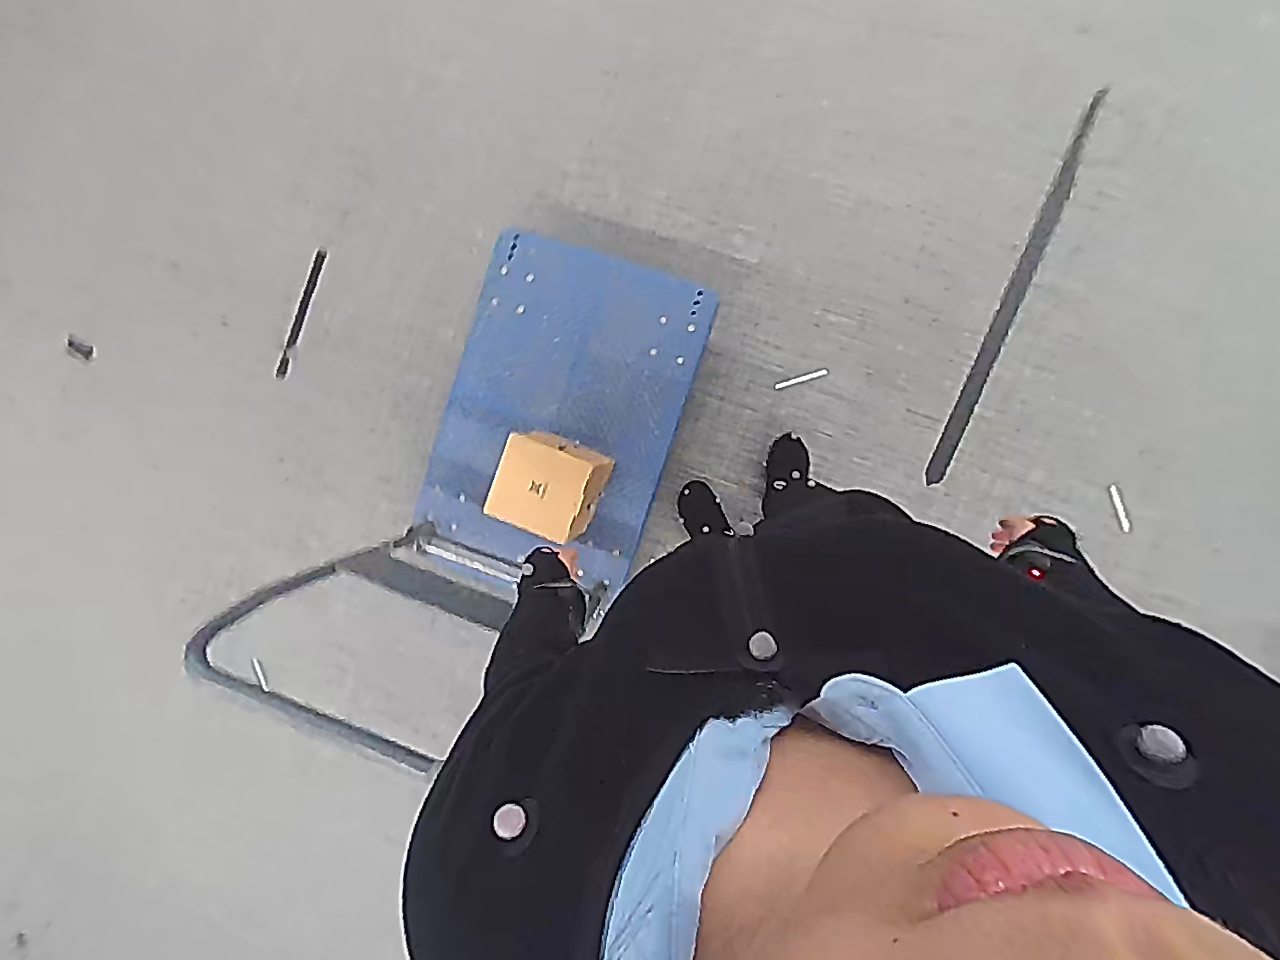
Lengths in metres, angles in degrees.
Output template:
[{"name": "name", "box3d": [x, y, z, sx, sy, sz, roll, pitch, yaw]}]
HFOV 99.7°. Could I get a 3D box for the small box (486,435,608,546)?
[{"name": "small box", "box3d": [-0.181, 0.018, 1.101, 0.179, 0.176, 0.168, 21, 95, 4]}]
